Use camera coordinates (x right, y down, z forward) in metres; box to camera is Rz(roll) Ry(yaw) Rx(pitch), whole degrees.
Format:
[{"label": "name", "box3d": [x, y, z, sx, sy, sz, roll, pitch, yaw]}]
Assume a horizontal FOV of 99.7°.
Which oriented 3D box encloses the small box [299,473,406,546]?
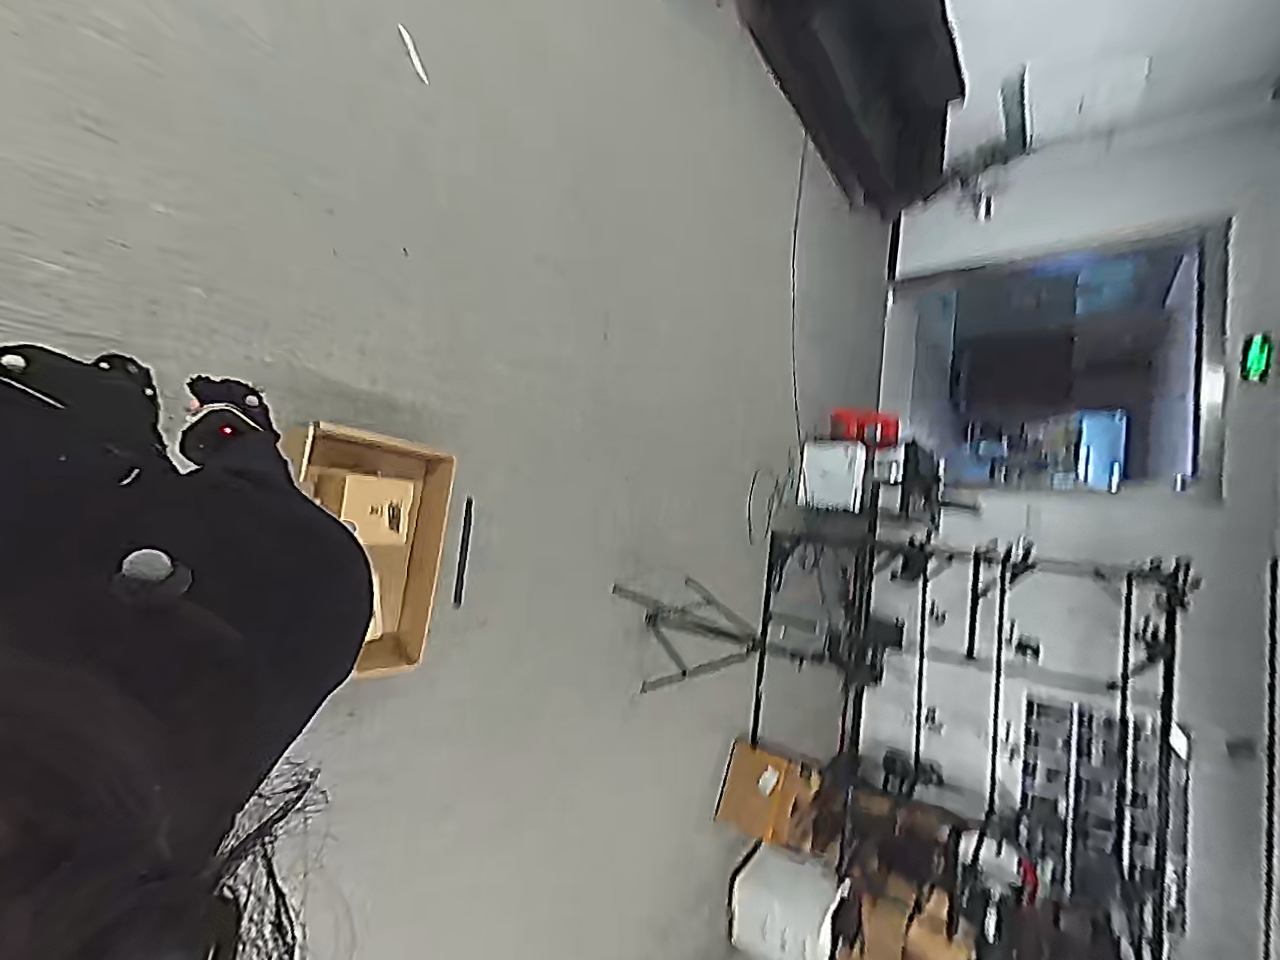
[{"label": "small box", "box3d": [-0.746, 0.076, 1.404, 0.179, 0.176, 0.168, 13, 83, -52]}]
